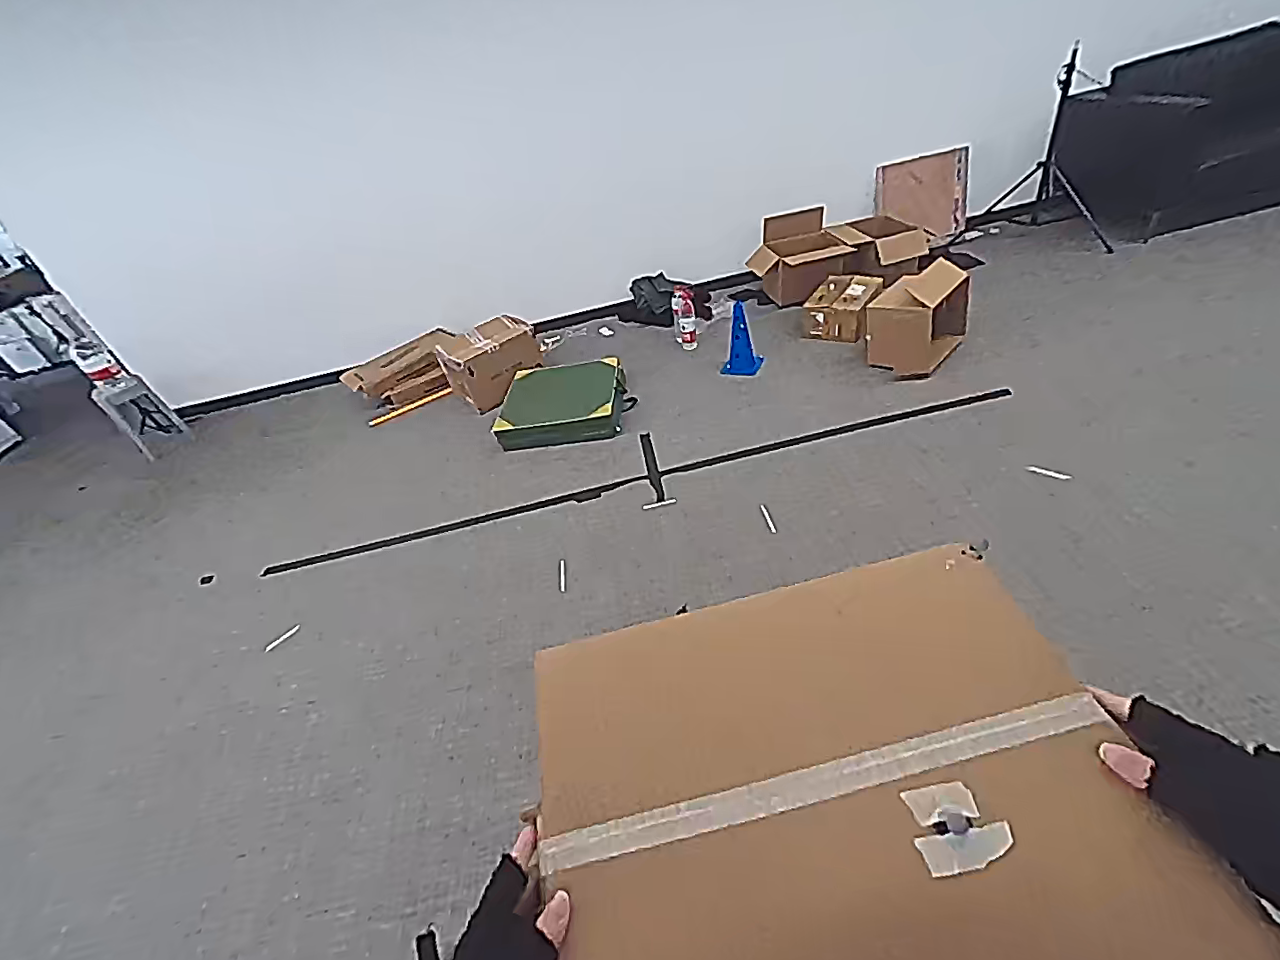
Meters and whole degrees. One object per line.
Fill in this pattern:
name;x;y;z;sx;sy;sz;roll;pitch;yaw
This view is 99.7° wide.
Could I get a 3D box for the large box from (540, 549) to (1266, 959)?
large box;0.151;0.321;0.501;0.408;0.320;0.320;-14;45;-2
